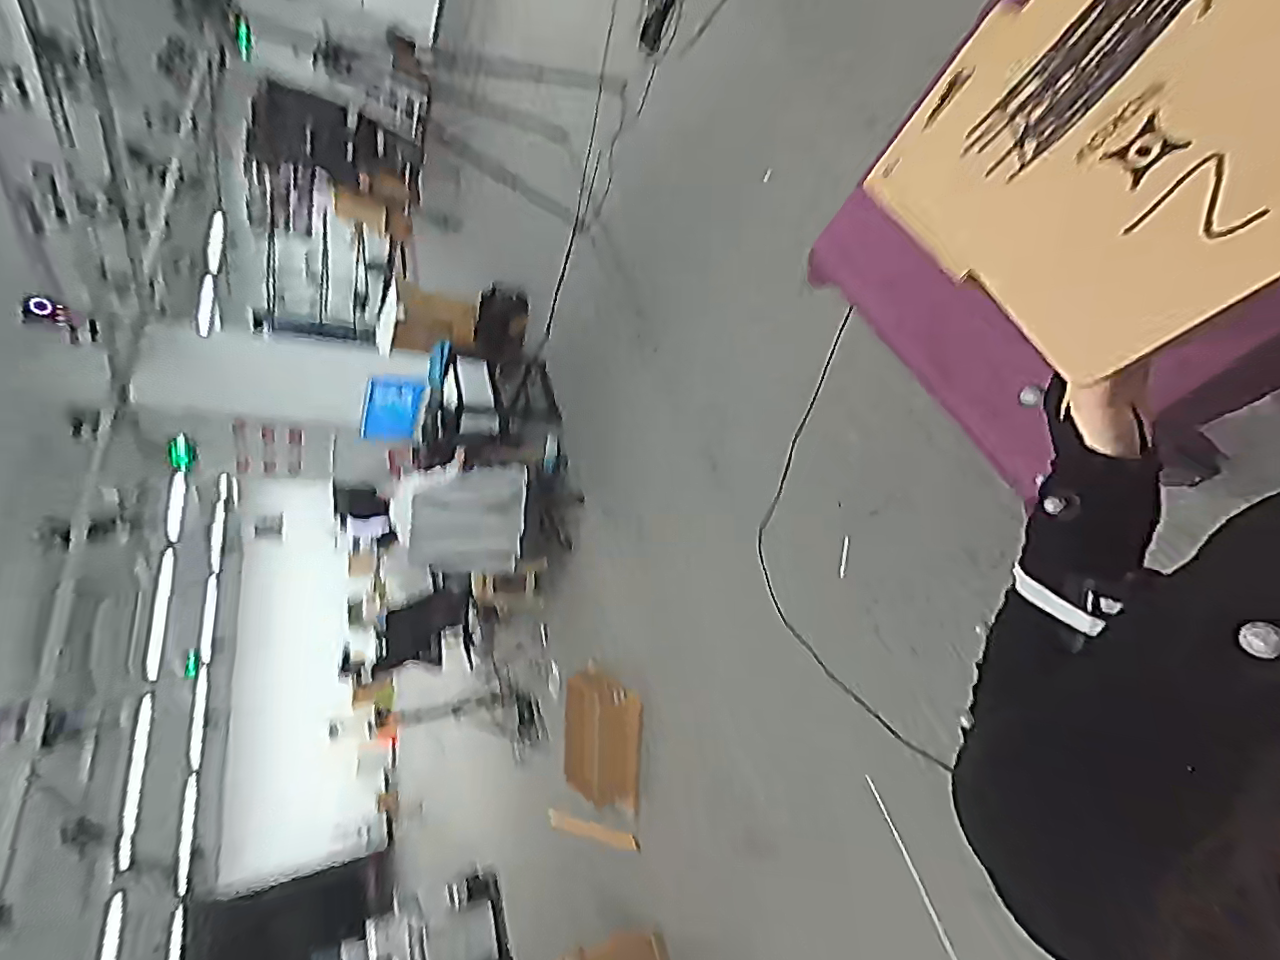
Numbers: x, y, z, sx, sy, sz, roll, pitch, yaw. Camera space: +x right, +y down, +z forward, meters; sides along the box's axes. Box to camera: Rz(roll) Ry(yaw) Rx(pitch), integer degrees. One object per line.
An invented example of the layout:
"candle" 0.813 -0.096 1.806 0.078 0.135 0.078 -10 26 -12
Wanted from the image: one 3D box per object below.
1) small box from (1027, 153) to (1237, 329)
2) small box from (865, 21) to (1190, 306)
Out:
"small box" 0.513 -0.299 0.627 0.168 0.176 0.179 -54 46 42
"small box" 0.375 -0.295 0.538 0.168 0.176 0.179 -53 47 42
